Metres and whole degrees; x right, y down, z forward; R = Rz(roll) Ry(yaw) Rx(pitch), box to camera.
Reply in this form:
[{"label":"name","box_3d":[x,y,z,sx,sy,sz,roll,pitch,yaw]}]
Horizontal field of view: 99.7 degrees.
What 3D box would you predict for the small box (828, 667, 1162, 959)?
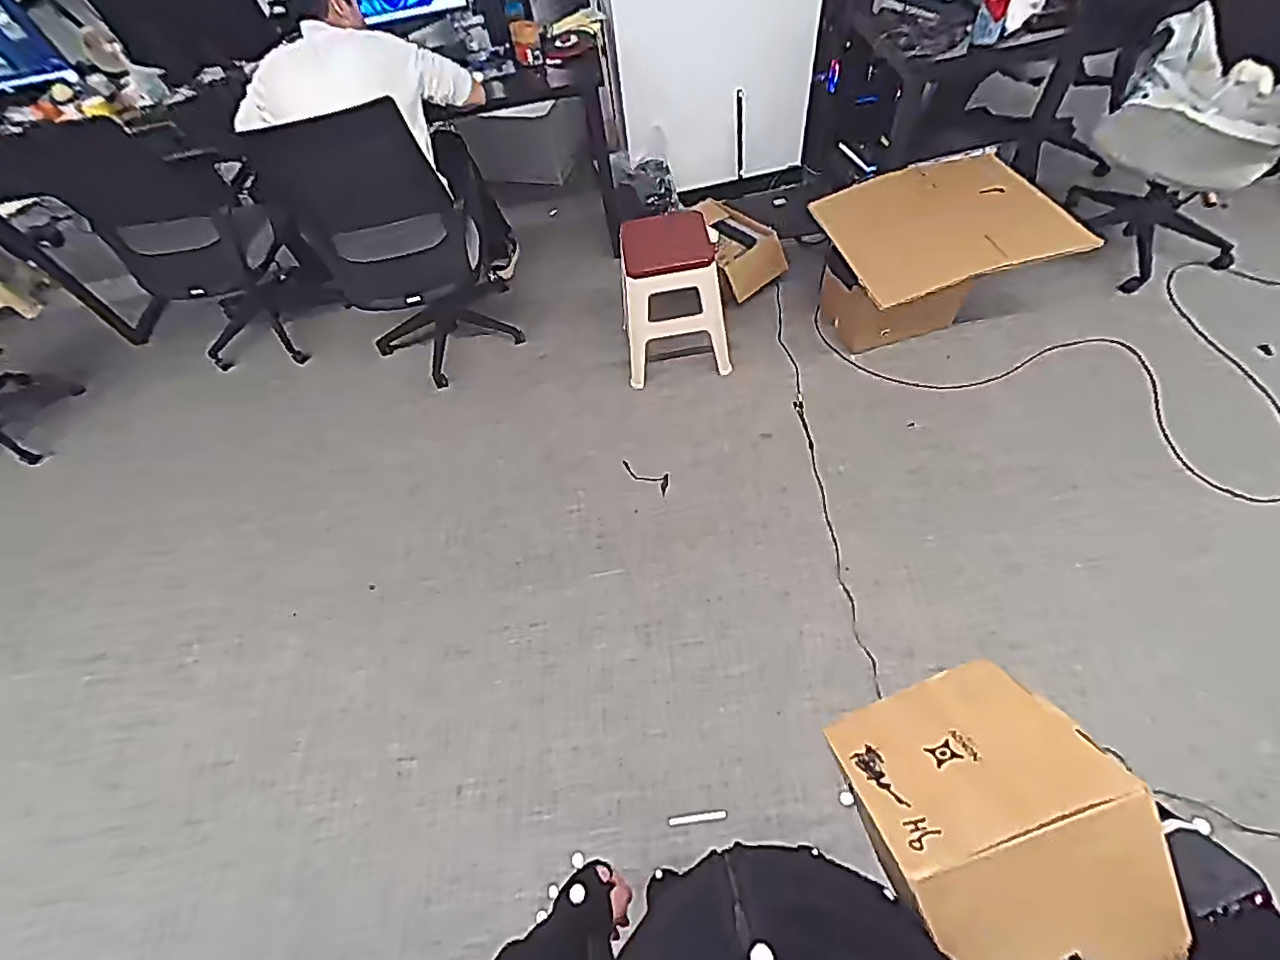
[{"label":"small box","box_3d":[0.300,0.307,0.476,0.179,0.168,0.176,-24,101,3]}]
